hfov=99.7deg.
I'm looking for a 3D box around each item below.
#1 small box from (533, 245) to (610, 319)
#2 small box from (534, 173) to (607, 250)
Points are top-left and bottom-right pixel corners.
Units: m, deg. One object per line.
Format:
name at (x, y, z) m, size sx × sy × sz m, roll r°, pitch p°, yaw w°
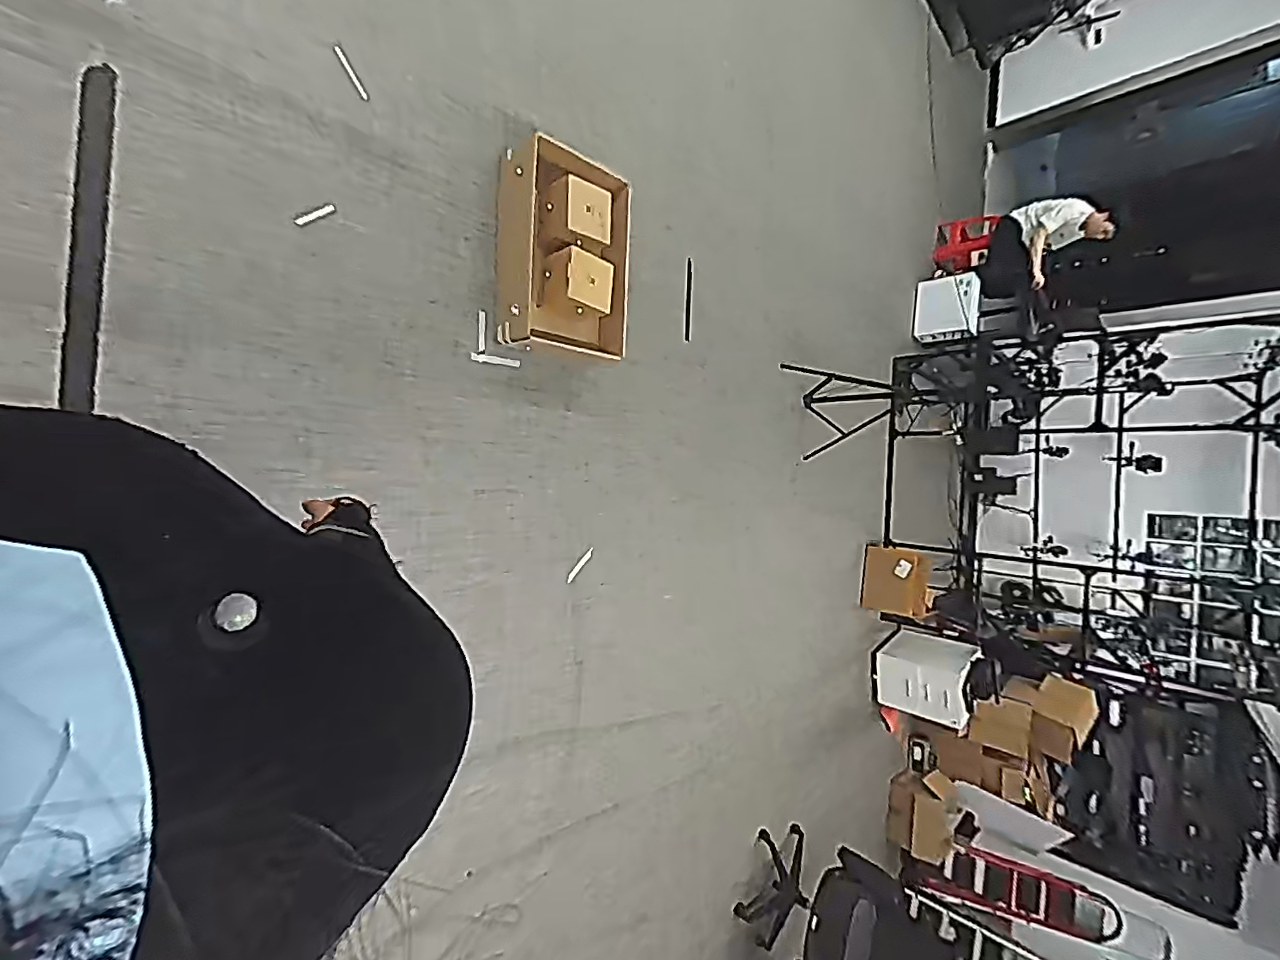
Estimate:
small box at (-0.225, -0.639, 1.775) m, size 0.179 × 0.176 × 0.168 m, roll 9°, pitch 85°, yaw -45°
small box at (-0.227, -0.856, 1.755) m, size 0.179 × 0.176 × 0.168 m, roll -1°, pitch 95°, yaw -46°
